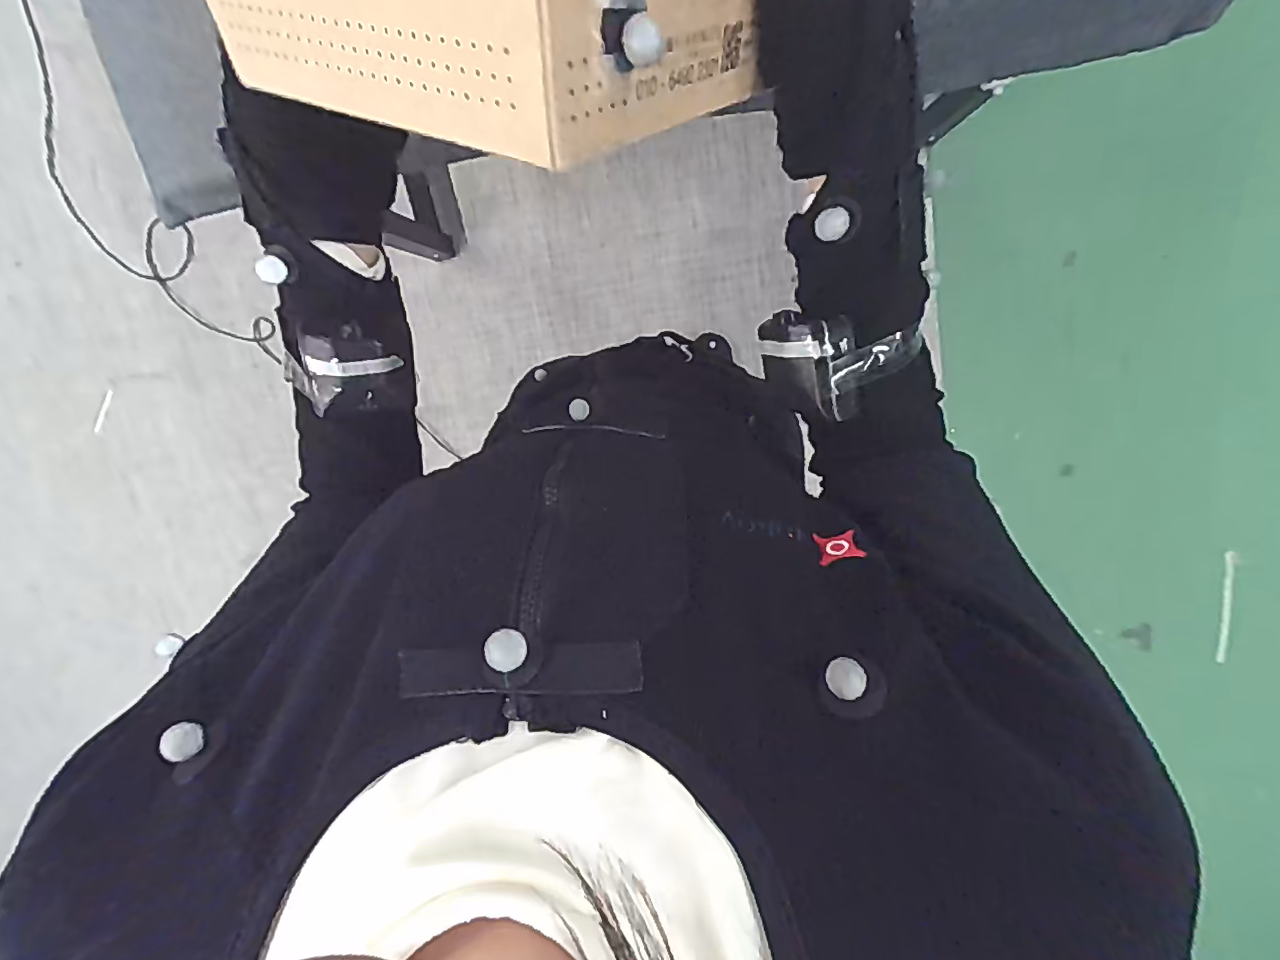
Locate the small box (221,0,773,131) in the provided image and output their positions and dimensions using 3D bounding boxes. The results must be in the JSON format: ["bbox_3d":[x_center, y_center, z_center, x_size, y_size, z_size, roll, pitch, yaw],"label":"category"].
[{"bbox_3d":[-0.050,-0.239,0.185,0.179,0.168,0.176,26,141,22],"label":"small box"}]
